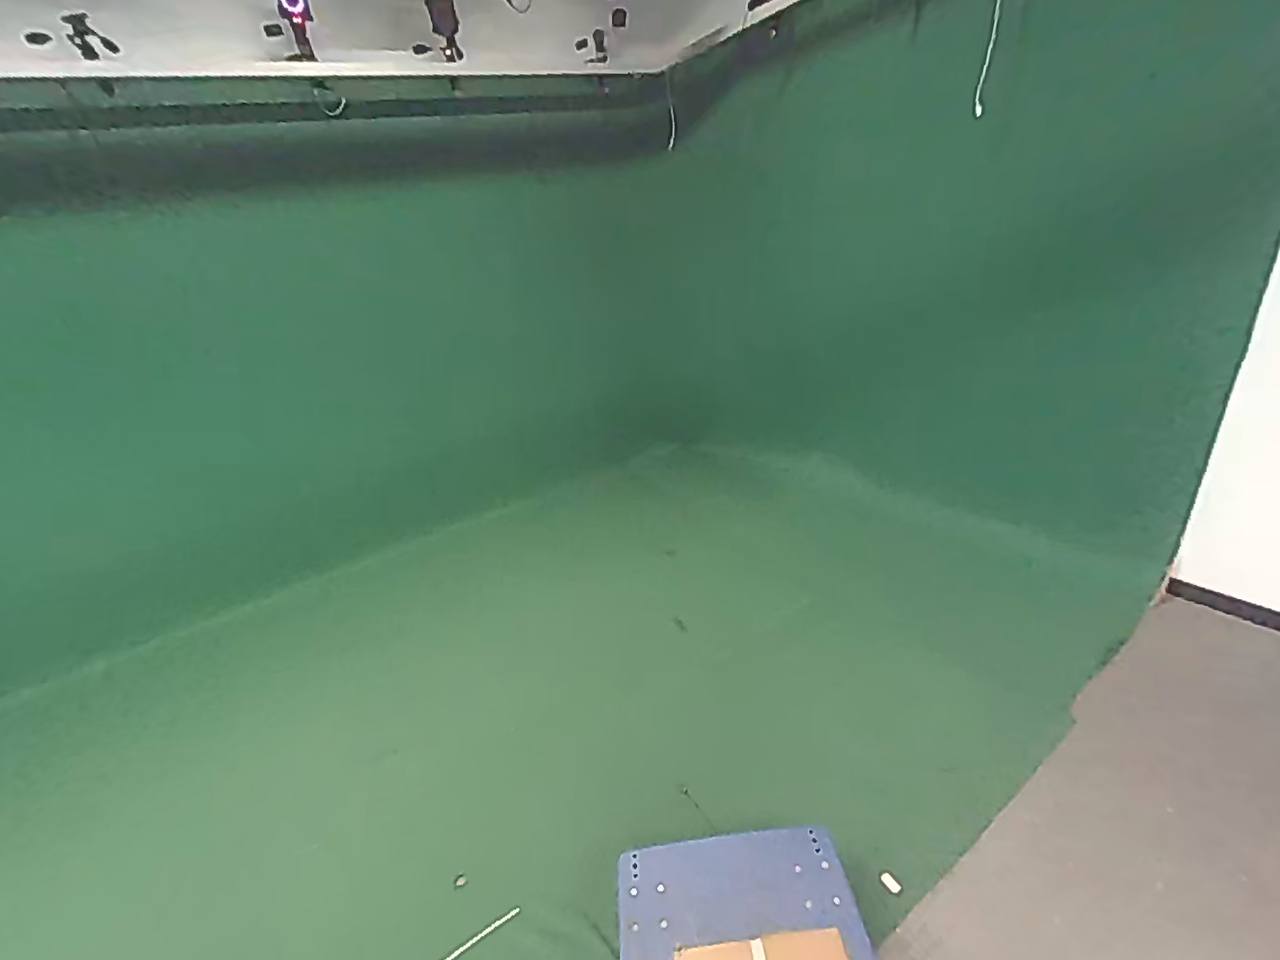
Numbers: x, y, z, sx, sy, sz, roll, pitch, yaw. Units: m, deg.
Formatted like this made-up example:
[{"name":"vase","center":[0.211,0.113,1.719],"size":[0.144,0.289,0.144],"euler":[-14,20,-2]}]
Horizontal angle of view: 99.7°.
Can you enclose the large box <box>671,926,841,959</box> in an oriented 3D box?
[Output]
[{"name":"large box","center":[0.243,1.083,0.904],"size":[0.320,0.320,0.408],"euler":[-8,24,1]}]
